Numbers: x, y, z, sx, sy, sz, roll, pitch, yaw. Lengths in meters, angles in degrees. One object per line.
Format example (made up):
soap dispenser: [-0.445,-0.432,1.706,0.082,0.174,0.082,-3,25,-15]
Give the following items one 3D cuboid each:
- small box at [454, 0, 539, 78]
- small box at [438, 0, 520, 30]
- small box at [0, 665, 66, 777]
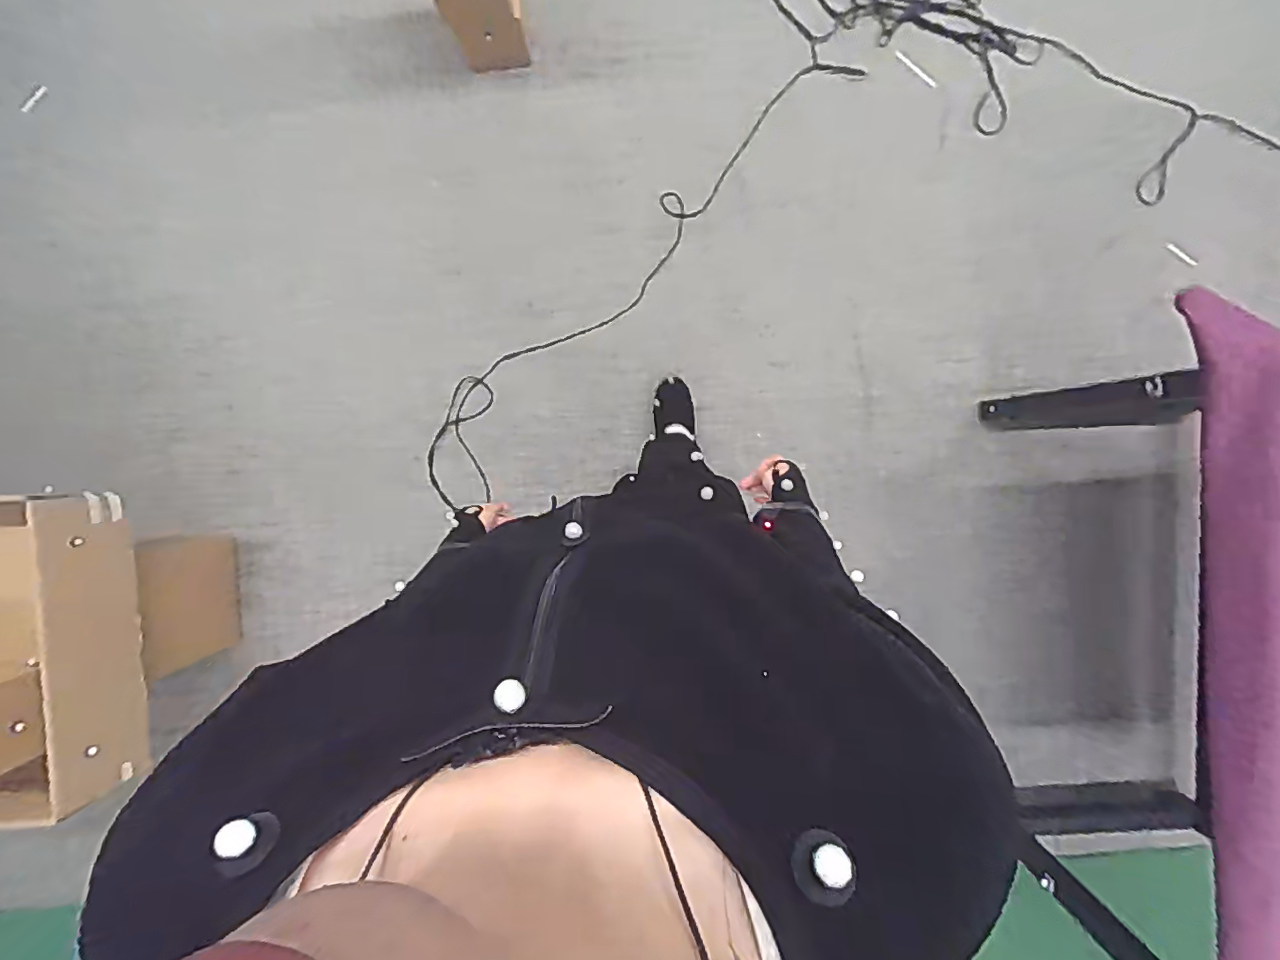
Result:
small box: [-0.369,-1.179,1.394,0.179,0.176,0.168,-4,92,1]
small box: [-0.384,-1.172,1.230,0.179,0.176,0.168,-4,93,2]
small box: [-1.268,0.466,1.037,0.168,0.176,0.179,-1,92,1]
